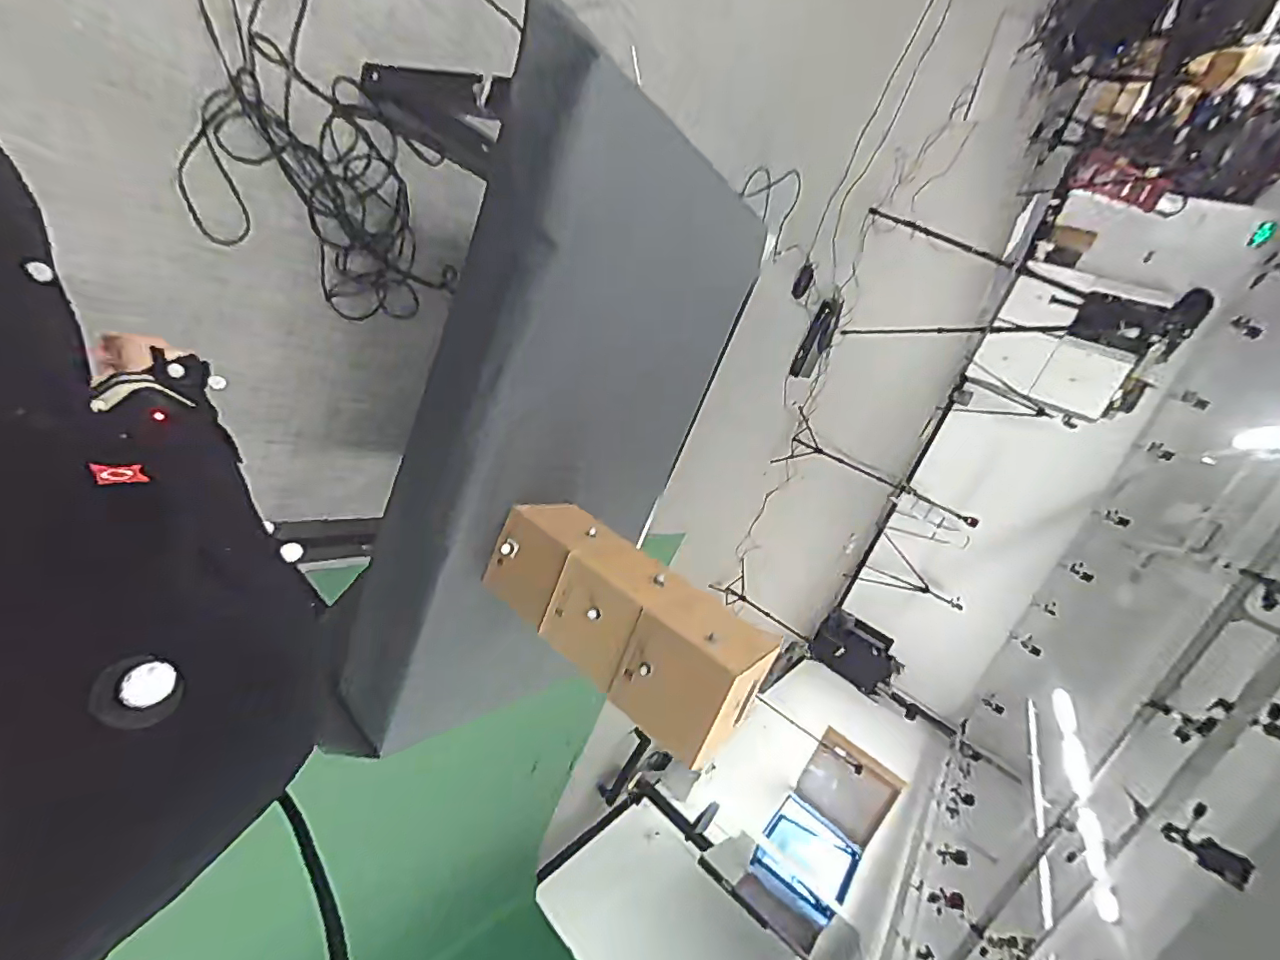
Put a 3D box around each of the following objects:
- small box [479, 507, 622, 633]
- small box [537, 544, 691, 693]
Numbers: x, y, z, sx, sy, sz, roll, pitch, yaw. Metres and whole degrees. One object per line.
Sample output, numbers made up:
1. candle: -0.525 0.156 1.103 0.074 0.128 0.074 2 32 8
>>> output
1. small box: -0.166 0.158 1.017 0.179 0.176 0.168 4 112 -56
2. small box: -0.047 0.225 0.929 0.179 0.176 0.168 0 115 -58
